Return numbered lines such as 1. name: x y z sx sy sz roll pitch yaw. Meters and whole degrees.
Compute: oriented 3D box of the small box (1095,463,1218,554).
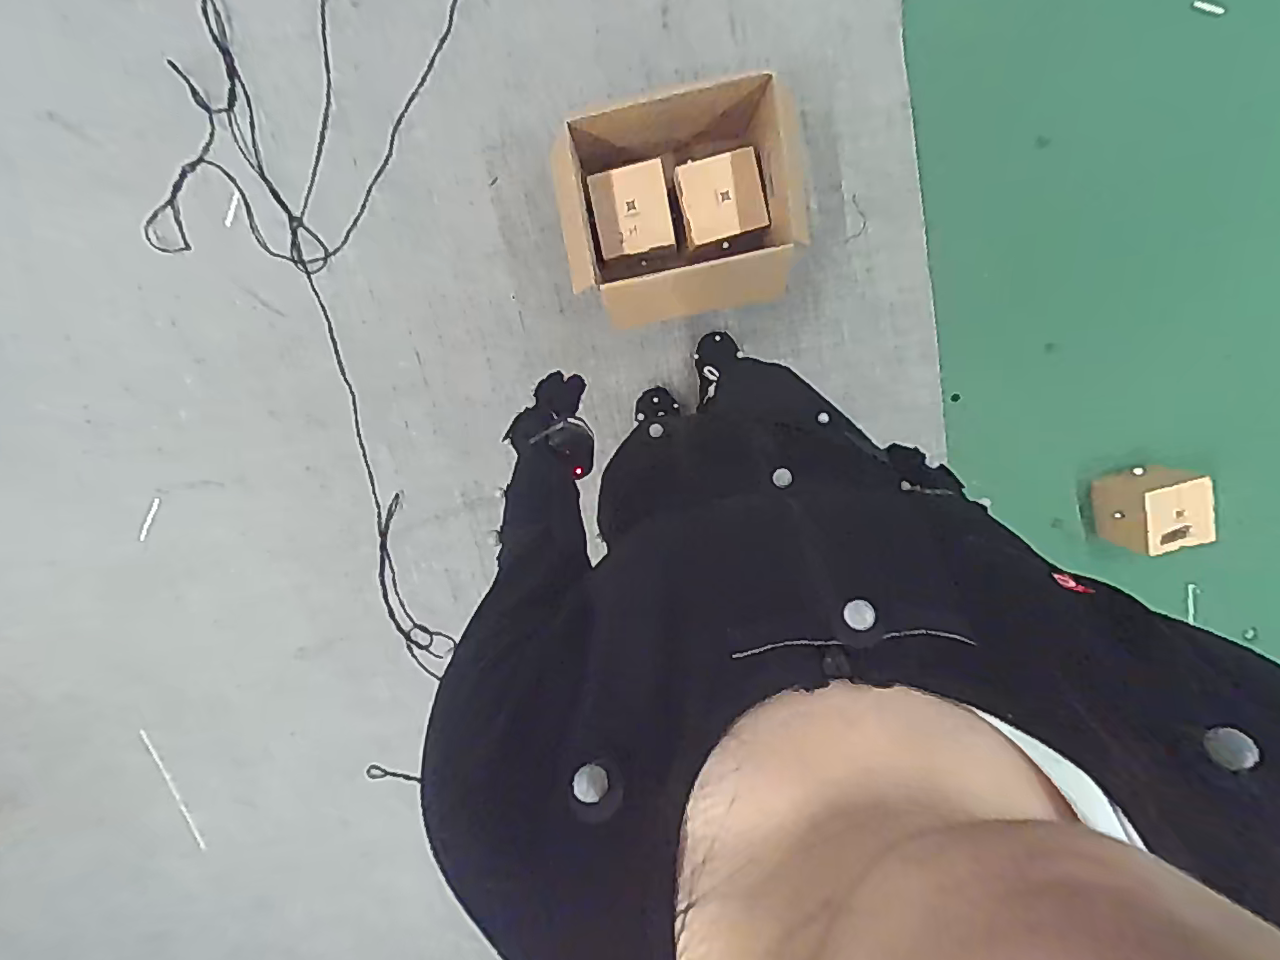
1. small box: 1.347 0.069 1.418 0.168 0.176 0.179 -15 101 3
